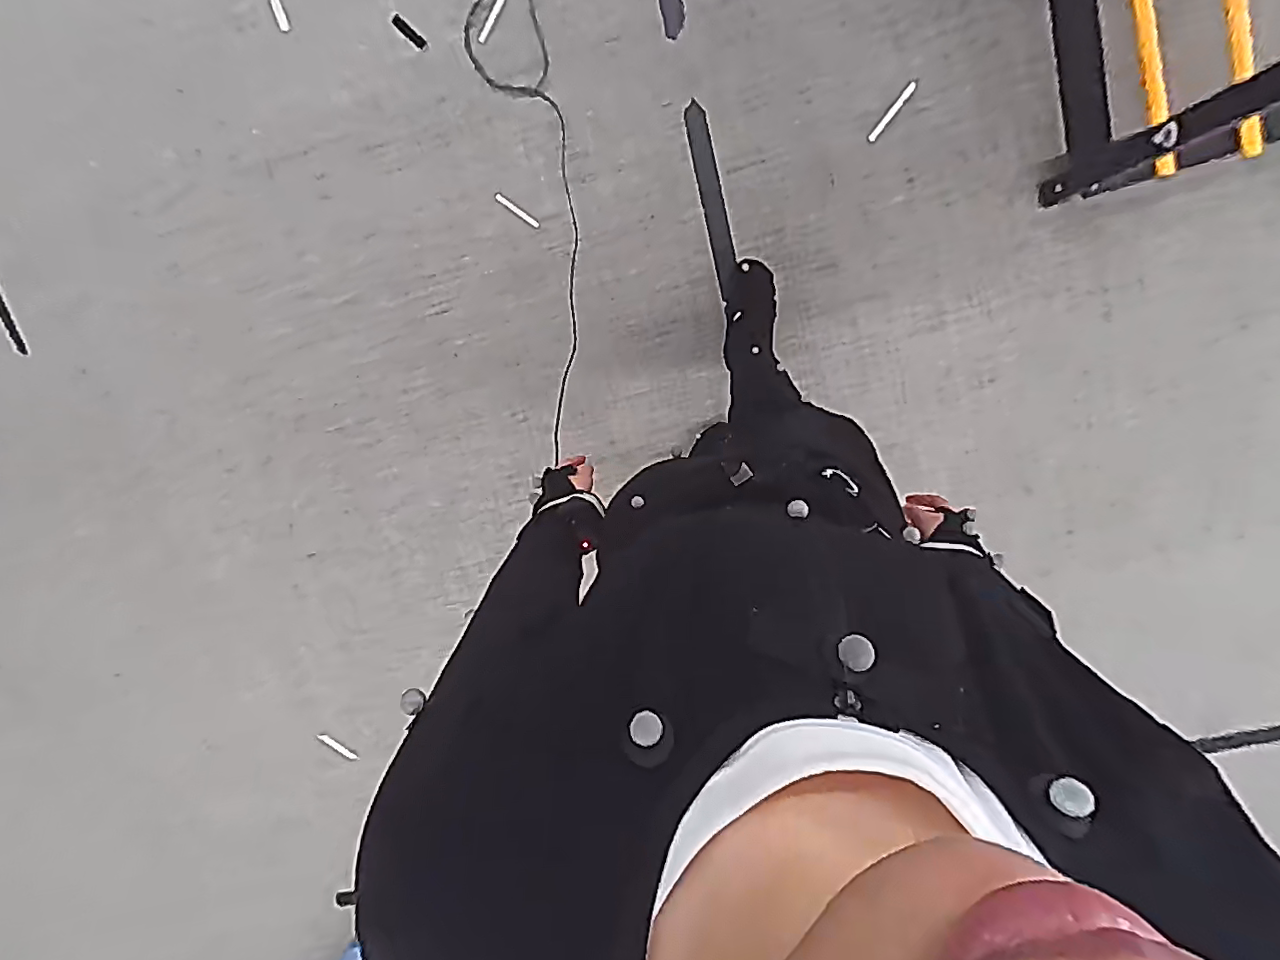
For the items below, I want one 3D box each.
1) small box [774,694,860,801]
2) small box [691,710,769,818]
[{"bbox_3d":[0.450,0.684,1.393,0.168,0.176,0.179,-12,99,7],"label":"small box"},{"bbox_3d":[0.233,0.742,1.424,0.168,0.176,0.179,-14,99,7],"label":"small box"}]
